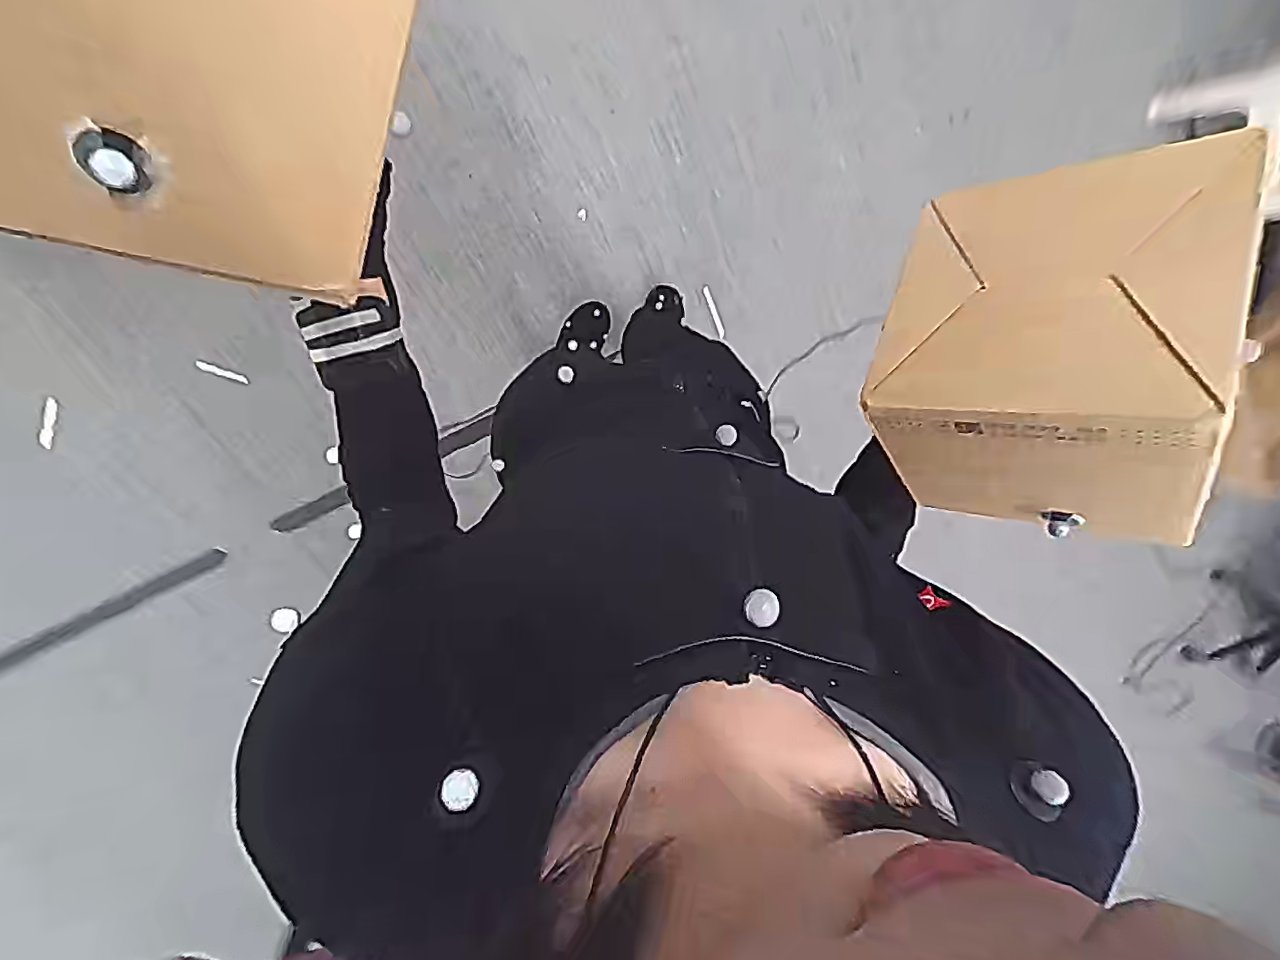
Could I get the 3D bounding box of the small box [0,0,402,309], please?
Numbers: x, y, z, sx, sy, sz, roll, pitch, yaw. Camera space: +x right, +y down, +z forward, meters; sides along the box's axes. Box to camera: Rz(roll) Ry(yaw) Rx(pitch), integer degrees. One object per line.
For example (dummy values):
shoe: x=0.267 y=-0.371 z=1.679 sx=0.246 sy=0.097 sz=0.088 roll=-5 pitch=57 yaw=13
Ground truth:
small box: x=-0.205 y=-0.201 z=0.214 sx=0.179 sy=0.168 sz=0.176 roll=3 pitch=133 yaw=-38

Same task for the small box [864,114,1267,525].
small box: x=0.274 y=-0.088 z=0.358 sx=0.176 sy=0.168 sz=0.179 roll=32 pitch=73 yaw=-41
